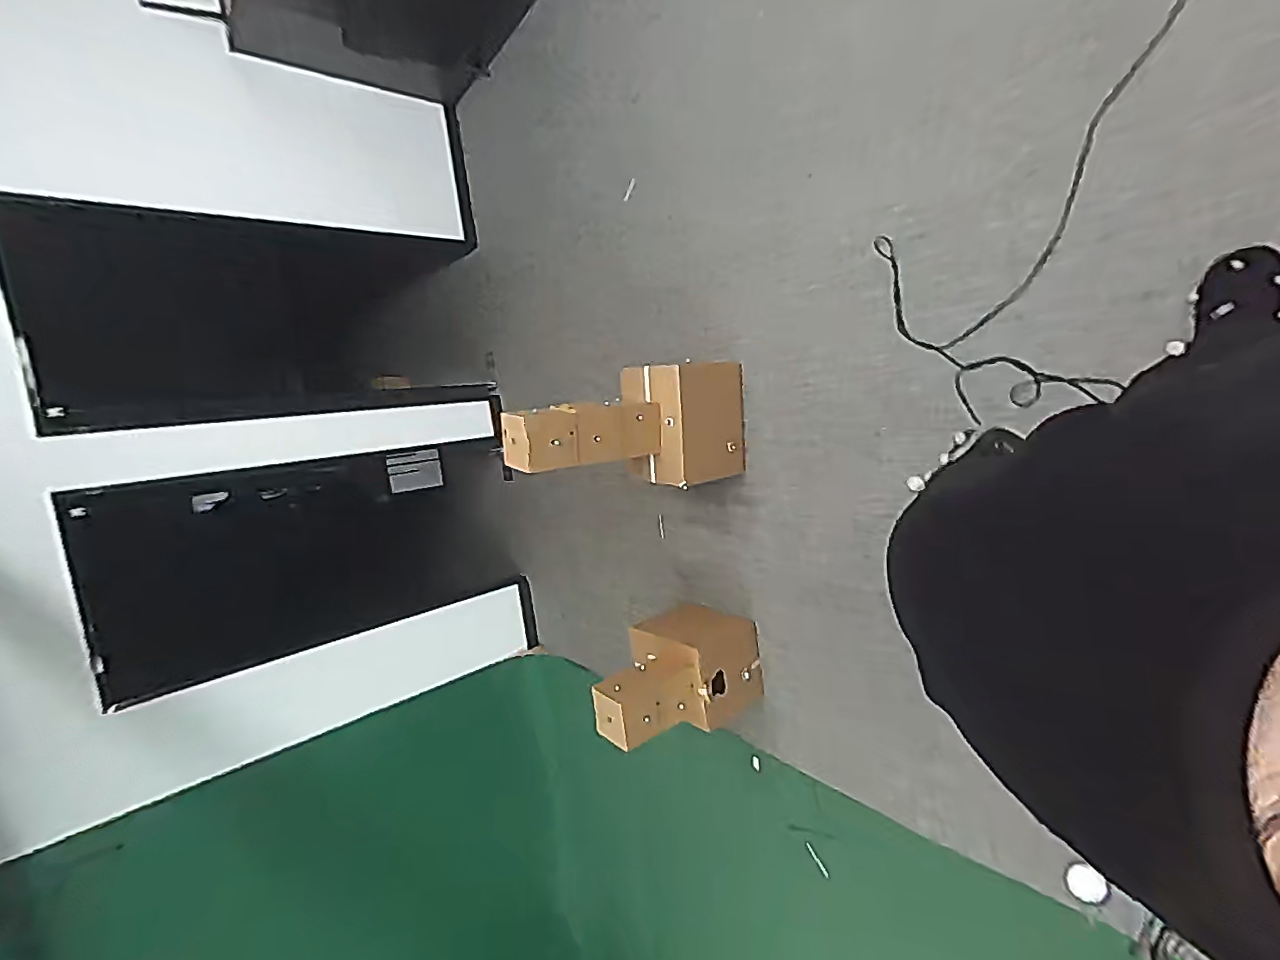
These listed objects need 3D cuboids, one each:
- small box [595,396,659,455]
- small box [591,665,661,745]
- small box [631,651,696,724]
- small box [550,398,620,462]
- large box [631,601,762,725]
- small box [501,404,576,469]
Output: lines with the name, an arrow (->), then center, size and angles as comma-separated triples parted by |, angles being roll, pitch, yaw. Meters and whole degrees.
small box -> -0.048, -0.194, 1.846 | 0.168, 0.176, 0.179 | 16, 112, 51
small box -> -0.041, 0.752, 1.830 | 0.179, 0.176, 0.168 | 3, 102, 52
small box -> 0.086, 0.732, 1.934 | 0.179, 0.176, 0.168 | 3, 102, 52
small box -> -0.175, -0.168, 1.745 | 0.168, 0.176, 0.179 | 18, 114, 50
large box -> 0.221, 0.701, 2.153 | 0.408, 0.320, 0.320 | 0, 100, 52
small box -> -0.306, -0.139, 1.651 | 0.179, 0.176, 0.168 | 16, 111, 50
